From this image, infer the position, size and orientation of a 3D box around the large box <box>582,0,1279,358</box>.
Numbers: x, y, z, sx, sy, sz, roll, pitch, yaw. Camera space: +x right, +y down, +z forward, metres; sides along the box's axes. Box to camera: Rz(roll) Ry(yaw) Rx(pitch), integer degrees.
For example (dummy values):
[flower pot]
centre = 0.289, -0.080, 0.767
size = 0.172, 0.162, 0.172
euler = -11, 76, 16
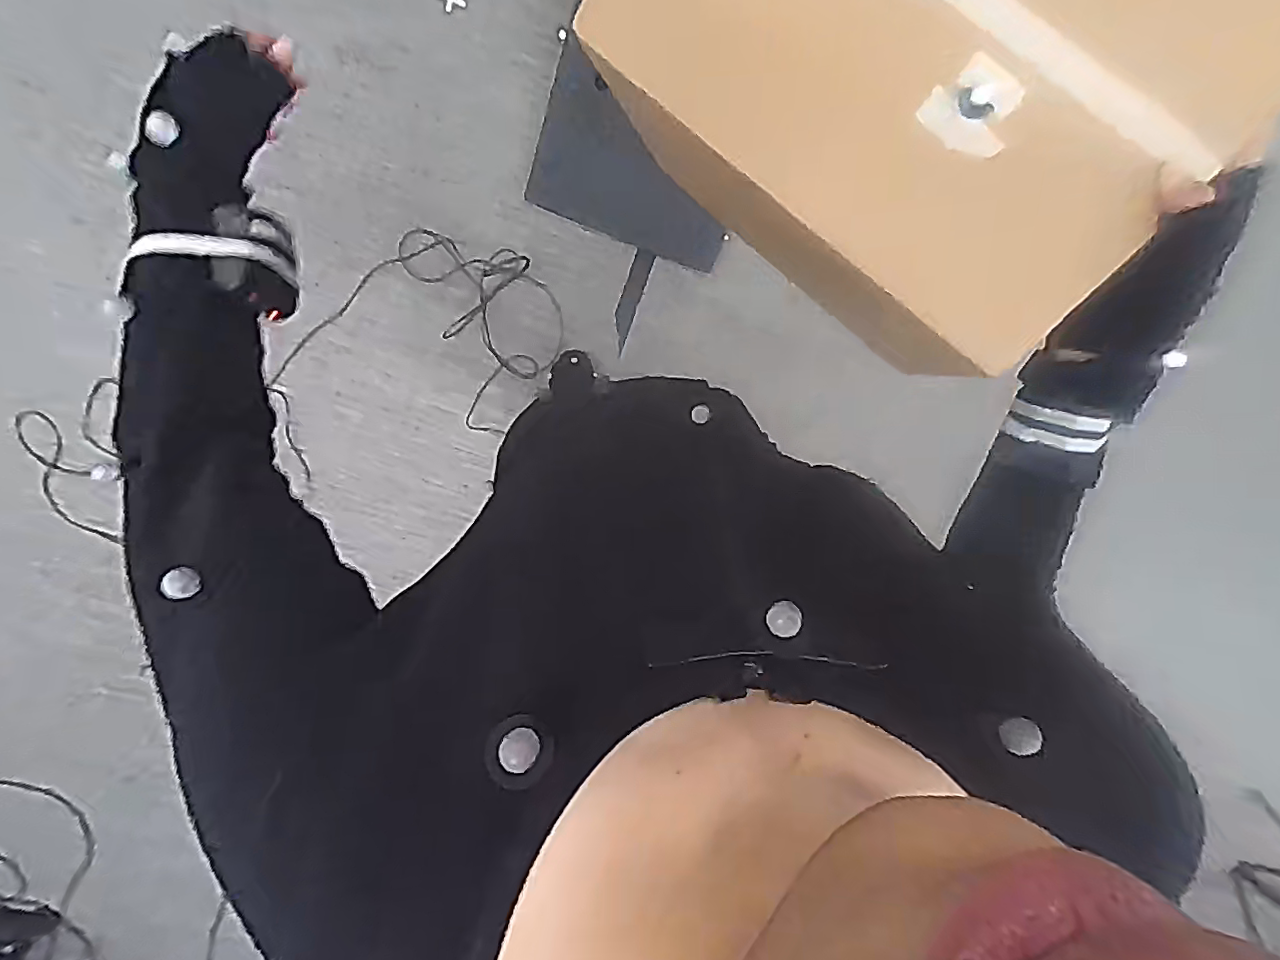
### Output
[large box]
centre = 0.228, -0.356, 0.496
size = 0.408, 0.320, 0.320
euler = 41, 109, 3

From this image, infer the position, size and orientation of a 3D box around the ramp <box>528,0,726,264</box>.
[ramp]
centre = 0.121, -1.053, 1.176
size = 0.509, 0.206, 0.991
euler = 16, 102, -10
